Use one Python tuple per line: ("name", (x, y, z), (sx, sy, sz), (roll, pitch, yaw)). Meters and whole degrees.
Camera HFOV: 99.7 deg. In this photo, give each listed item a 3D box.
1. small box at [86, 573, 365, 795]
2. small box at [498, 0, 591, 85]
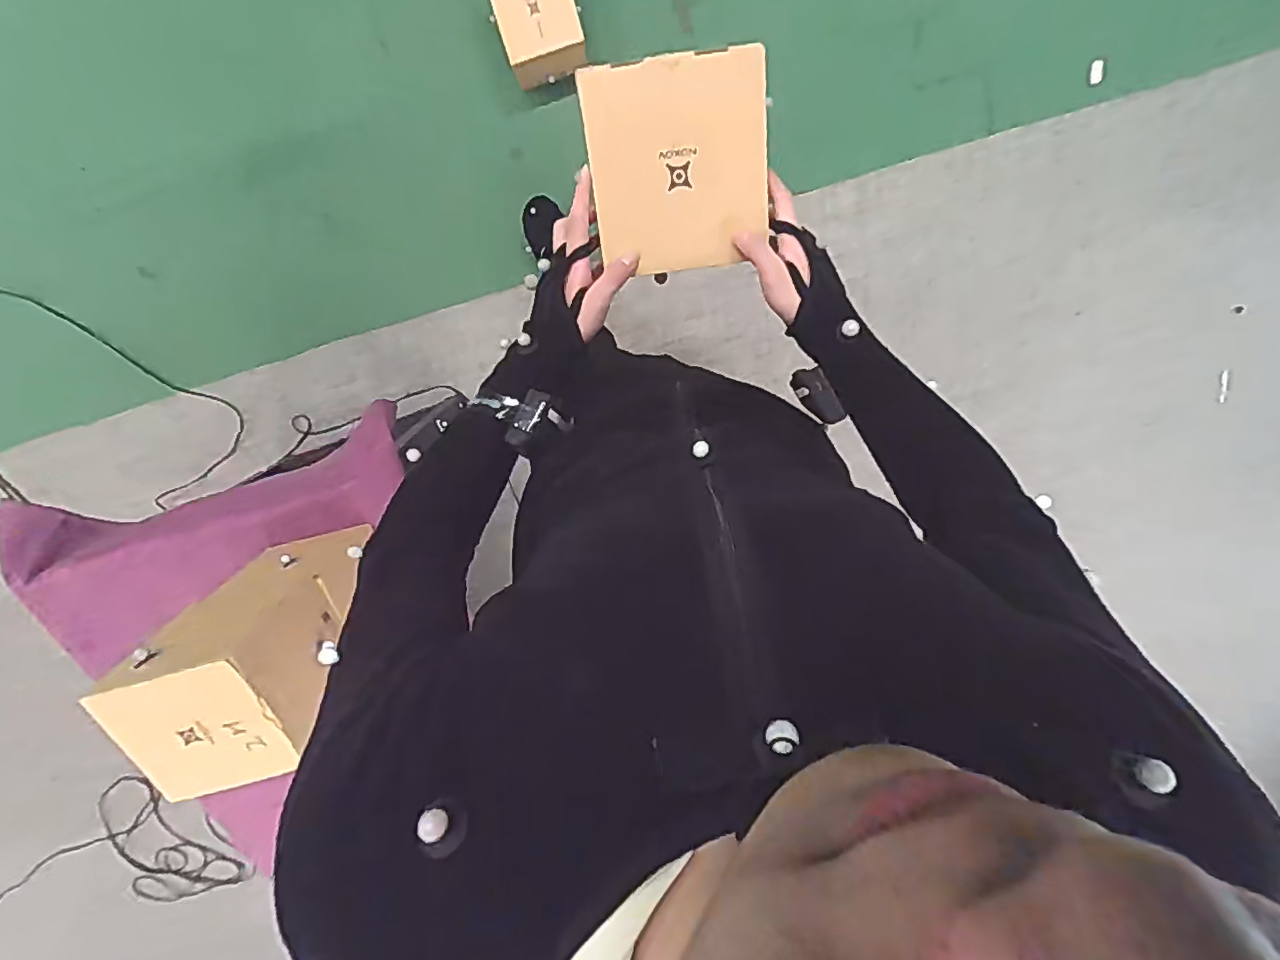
("small box", (-0.482, 0.239, 0.664), (0.179, 0.176, 0.168), (-15, 112, 3))
("small box", (-0.208, -0.999, 1.166), (0.168, 0.176, 0.179), (-16, 112, 3))
